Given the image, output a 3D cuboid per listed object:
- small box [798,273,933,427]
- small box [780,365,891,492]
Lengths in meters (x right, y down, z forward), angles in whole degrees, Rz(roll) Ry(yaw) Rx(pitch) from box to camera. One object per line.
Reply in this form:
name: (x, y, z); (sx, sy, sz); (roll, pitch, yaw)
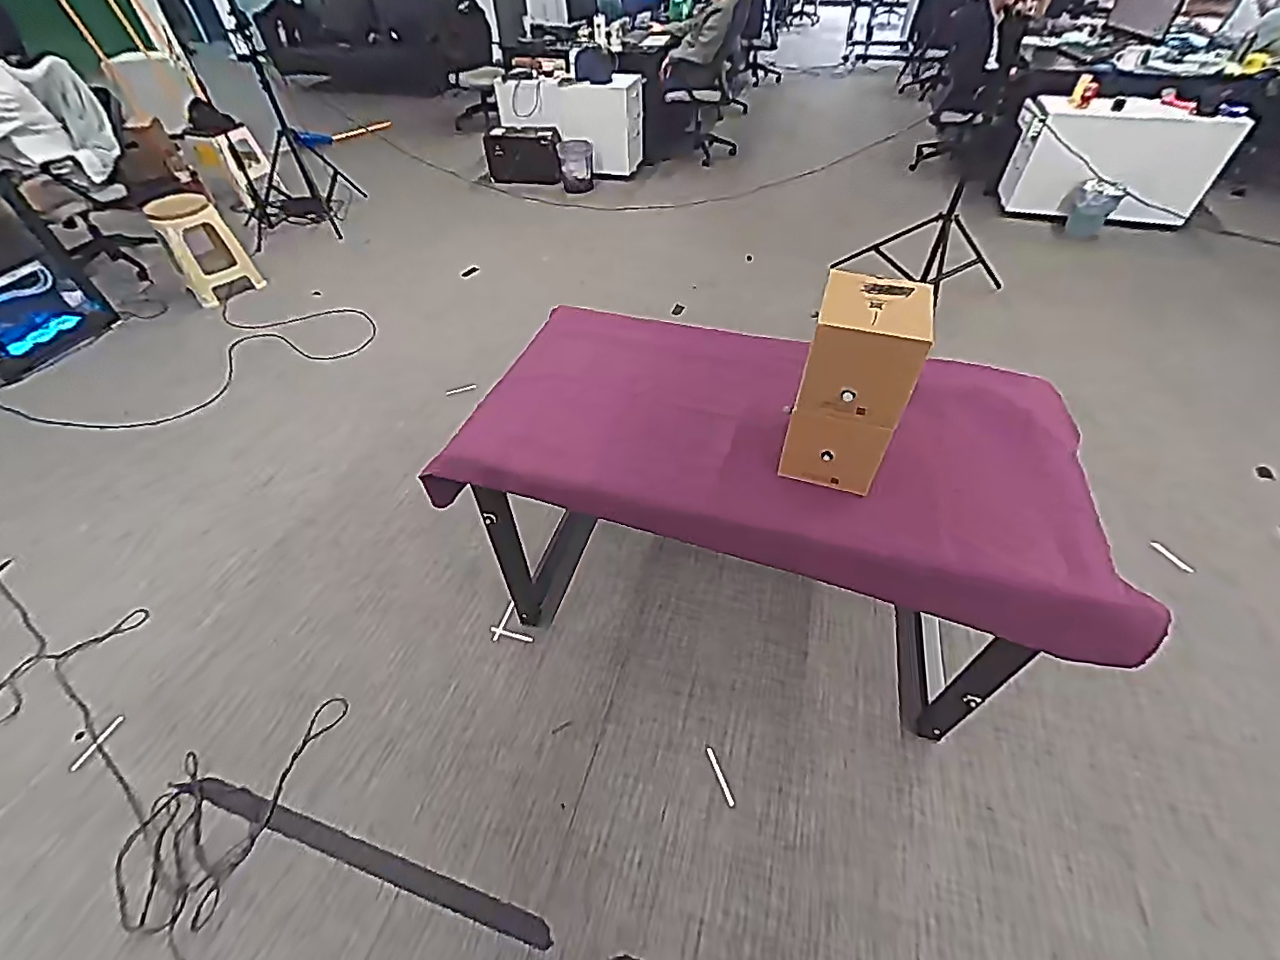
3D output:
small box: (0.371, -0.218, 0.904); (0.168, 0.176, 0.179); (14, 49, 14)
small box: (0.369, -0.104, 1.022); (0.168, 0.176, 0.179); (15, 49, 14)
